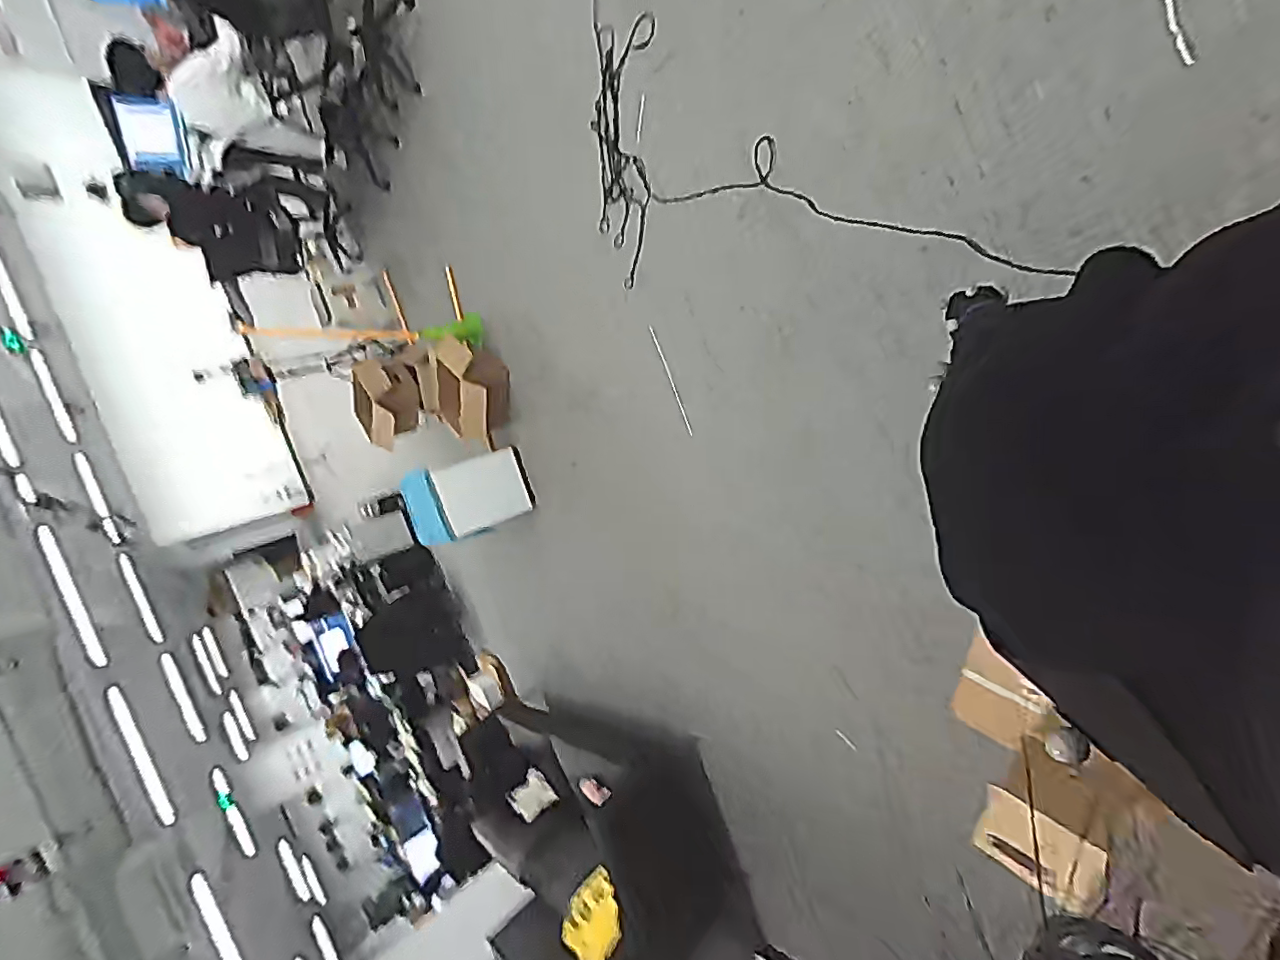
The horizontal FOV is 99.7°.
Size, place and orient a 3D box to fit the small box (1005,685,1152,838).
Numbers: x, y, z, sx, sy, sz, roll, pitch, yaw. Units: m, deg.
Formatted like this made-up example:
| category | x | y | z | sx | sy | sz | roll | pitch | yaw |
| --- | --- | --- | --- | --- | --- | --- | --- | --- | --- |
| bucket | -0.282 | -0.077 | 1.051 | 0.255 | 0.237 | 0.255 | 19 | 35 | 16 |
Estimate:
| category | x | y | z | sx | sy | sz | roll | pitch | yaw |
| --- | --- | --- | --- | --- | --- | --- | --- | --- | --- |
| small box | 0.884 | 0.560 | 1.092 | 0.168 | 0.176 | 0.179 | 31 | 131 | 40 |
